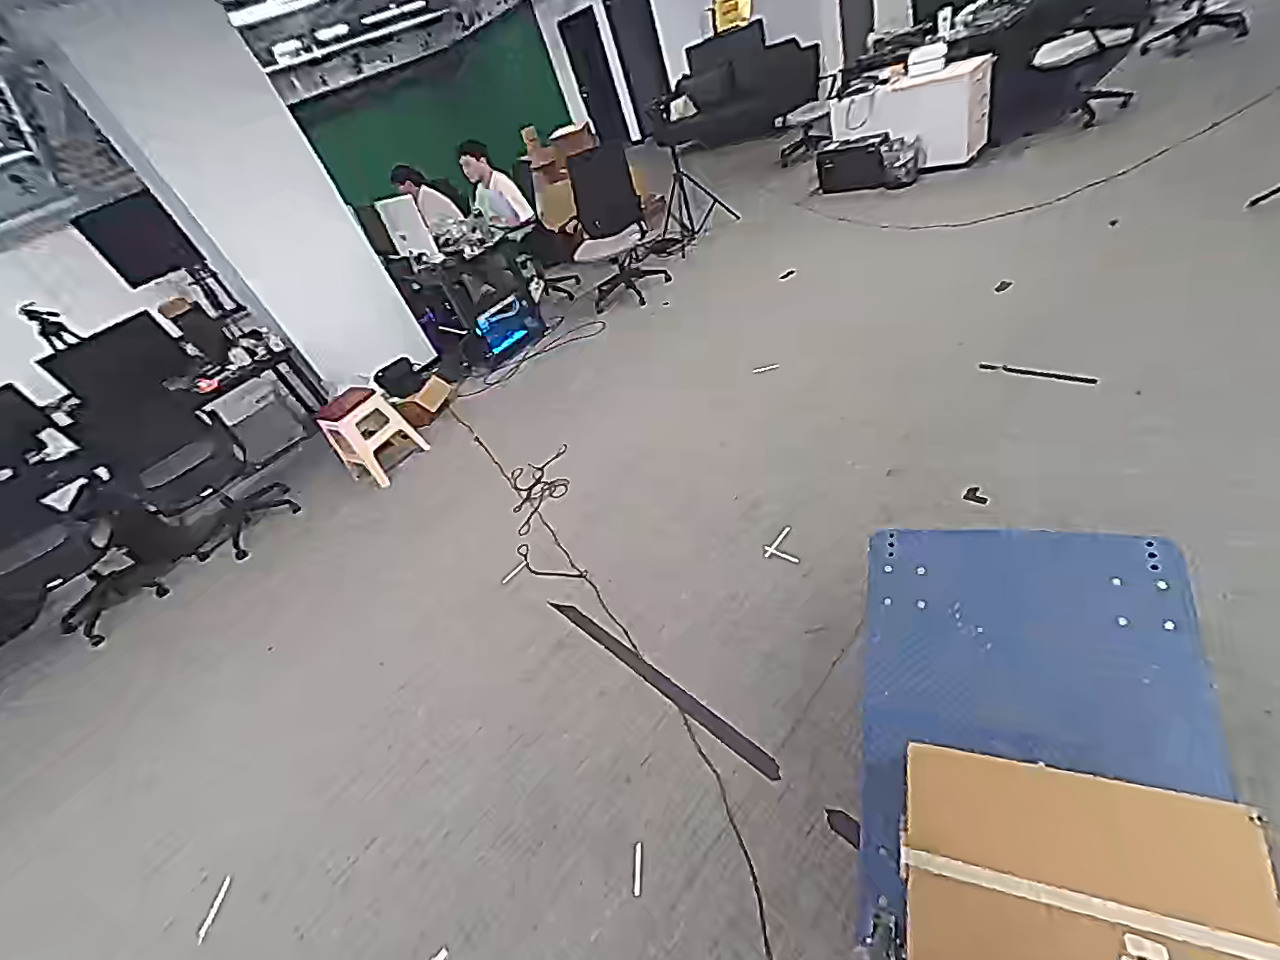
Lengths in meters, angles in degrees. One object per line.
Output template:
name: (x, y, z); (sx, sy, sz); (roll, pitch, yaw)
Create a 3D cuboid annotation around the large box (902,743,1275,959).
large box: (0.641, 0.631, 0.855); (0.408, 0.320, 0.320); (0, 64, 27)
